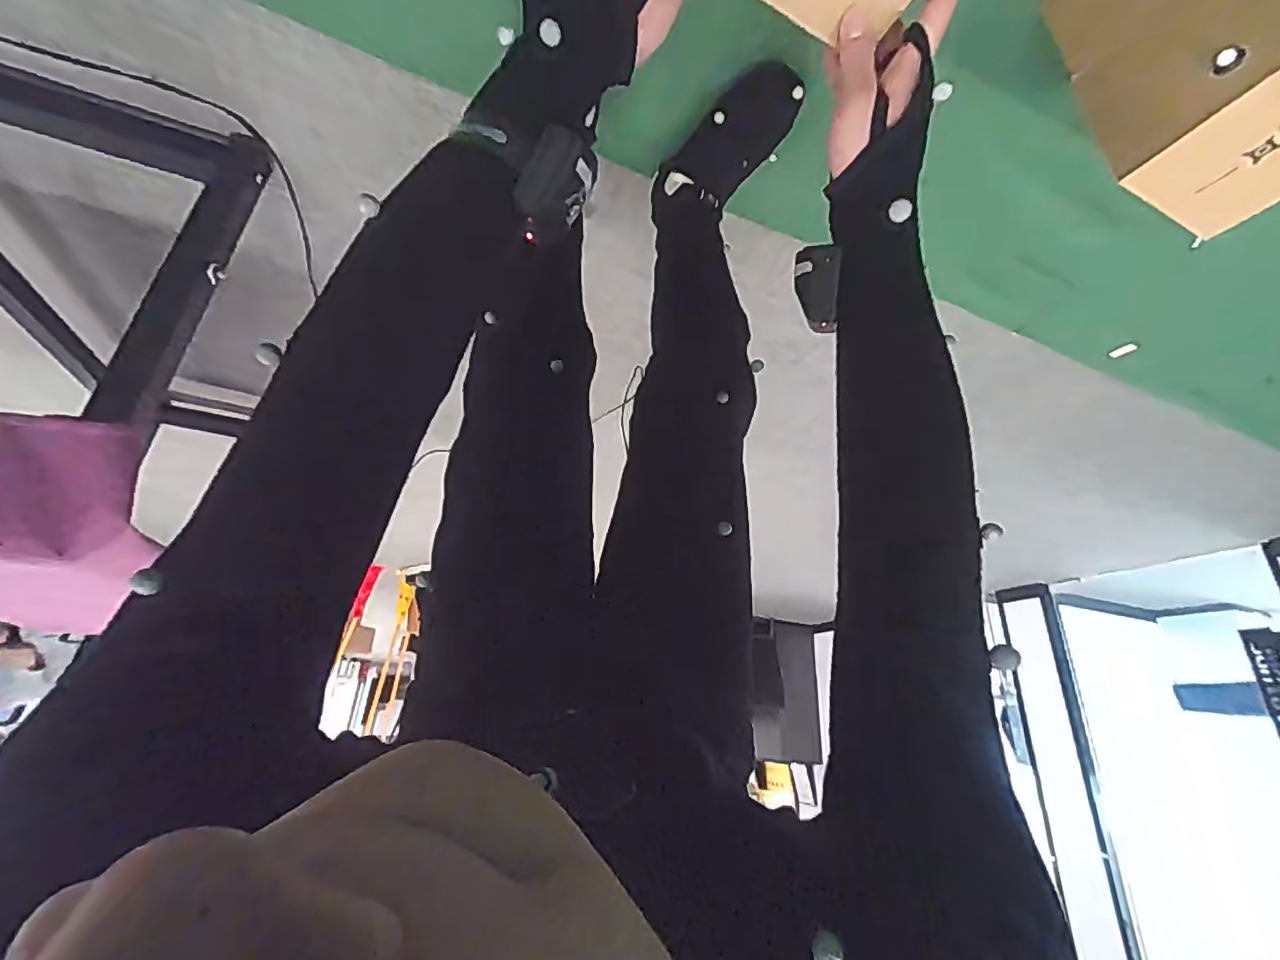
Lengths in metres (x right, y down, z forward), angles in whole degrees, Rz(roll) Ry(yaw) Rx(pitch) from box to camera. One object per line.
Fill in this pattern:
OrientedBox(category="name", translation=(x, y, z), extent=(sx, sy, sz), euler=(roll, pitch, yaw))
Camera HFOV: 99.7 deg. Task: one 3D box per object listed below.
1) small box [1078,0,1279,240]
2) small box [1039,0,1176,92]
OrientedBox(category="small box", translation=(0.600, -0.393, 0.546), extent=(0.168, 0.176, 0.179), euler=(13, 154, -21))
OrientedBox(category="small box", translation=(0.605, -0.542, 0.612), extent=(0.168, 0.176, 0.179), euler=(13, 154, -22))
